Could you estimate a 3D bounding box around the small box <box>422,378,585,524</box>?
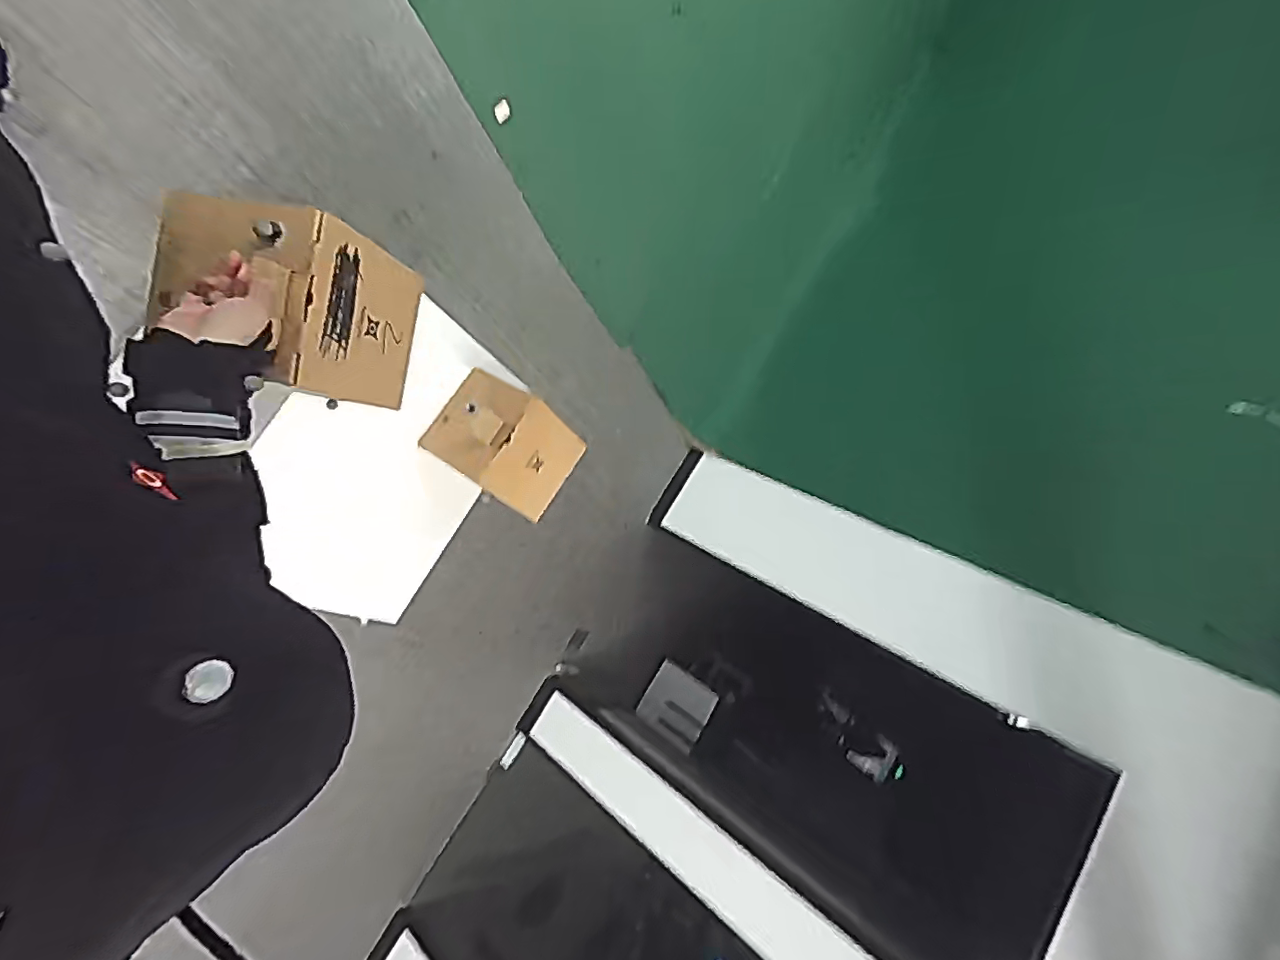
[{"bbox_3d":[-0.235,-0.054,0.945,0.168,0.176,0.179,-56,147,-10],"label":"small box"}]
